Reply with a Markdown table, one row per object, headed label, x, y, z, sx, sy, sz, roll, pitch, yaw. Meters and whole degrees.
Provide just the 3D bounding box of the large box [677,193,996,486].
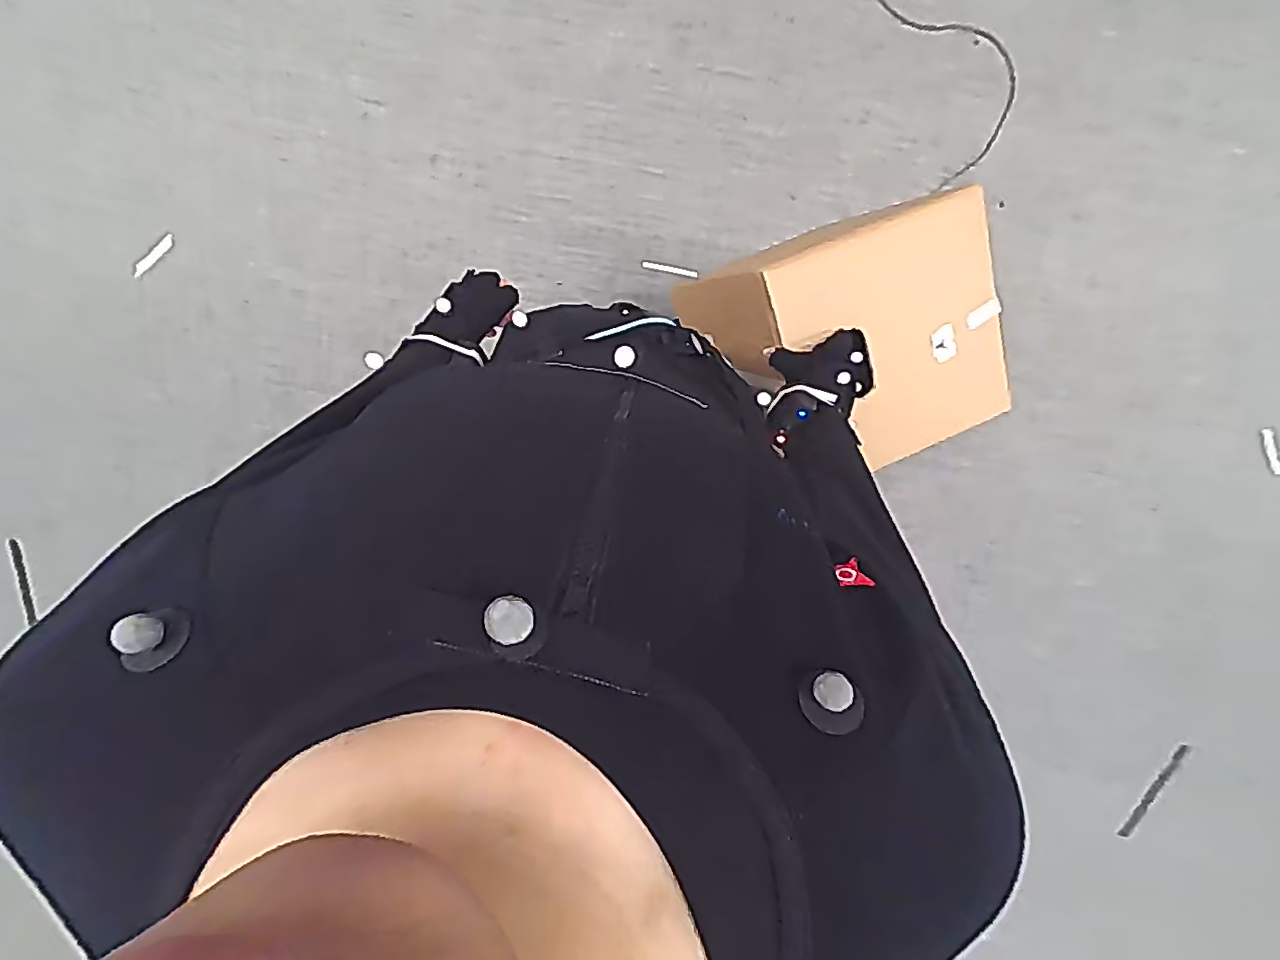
| label | x | y | z | sx | sy | sz | roll | pitch | yaw |
| --- | --- | --- | --- | --- | --- | --- | --- | --- | --- |
| large box | 0.297 | -0.232 | 0.912 | 0.320 | 0.408 | 0.320 | -22 | 109 | -4 |
